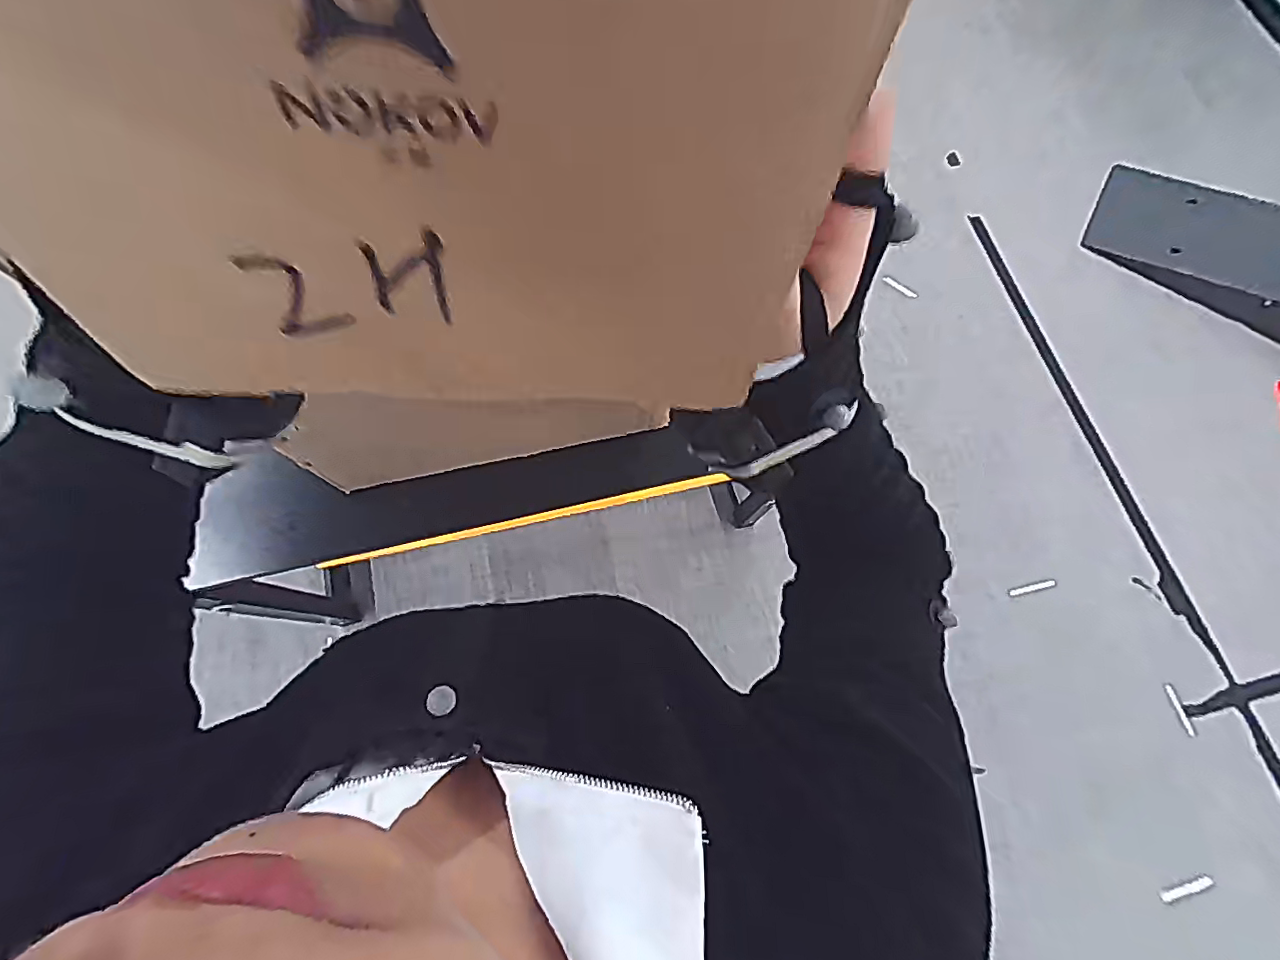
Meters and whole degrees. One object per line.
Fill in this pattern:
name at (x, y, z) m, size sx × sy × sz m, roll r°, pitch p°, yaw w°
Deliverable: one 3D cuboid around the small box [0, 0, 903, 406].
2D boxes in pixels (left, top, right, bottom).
small box at (-0.045, -0.139, 0.129) m, size 0.168 × 0.179 × 0.176 m, roll 1°, pitch 57°, yaw -7°
